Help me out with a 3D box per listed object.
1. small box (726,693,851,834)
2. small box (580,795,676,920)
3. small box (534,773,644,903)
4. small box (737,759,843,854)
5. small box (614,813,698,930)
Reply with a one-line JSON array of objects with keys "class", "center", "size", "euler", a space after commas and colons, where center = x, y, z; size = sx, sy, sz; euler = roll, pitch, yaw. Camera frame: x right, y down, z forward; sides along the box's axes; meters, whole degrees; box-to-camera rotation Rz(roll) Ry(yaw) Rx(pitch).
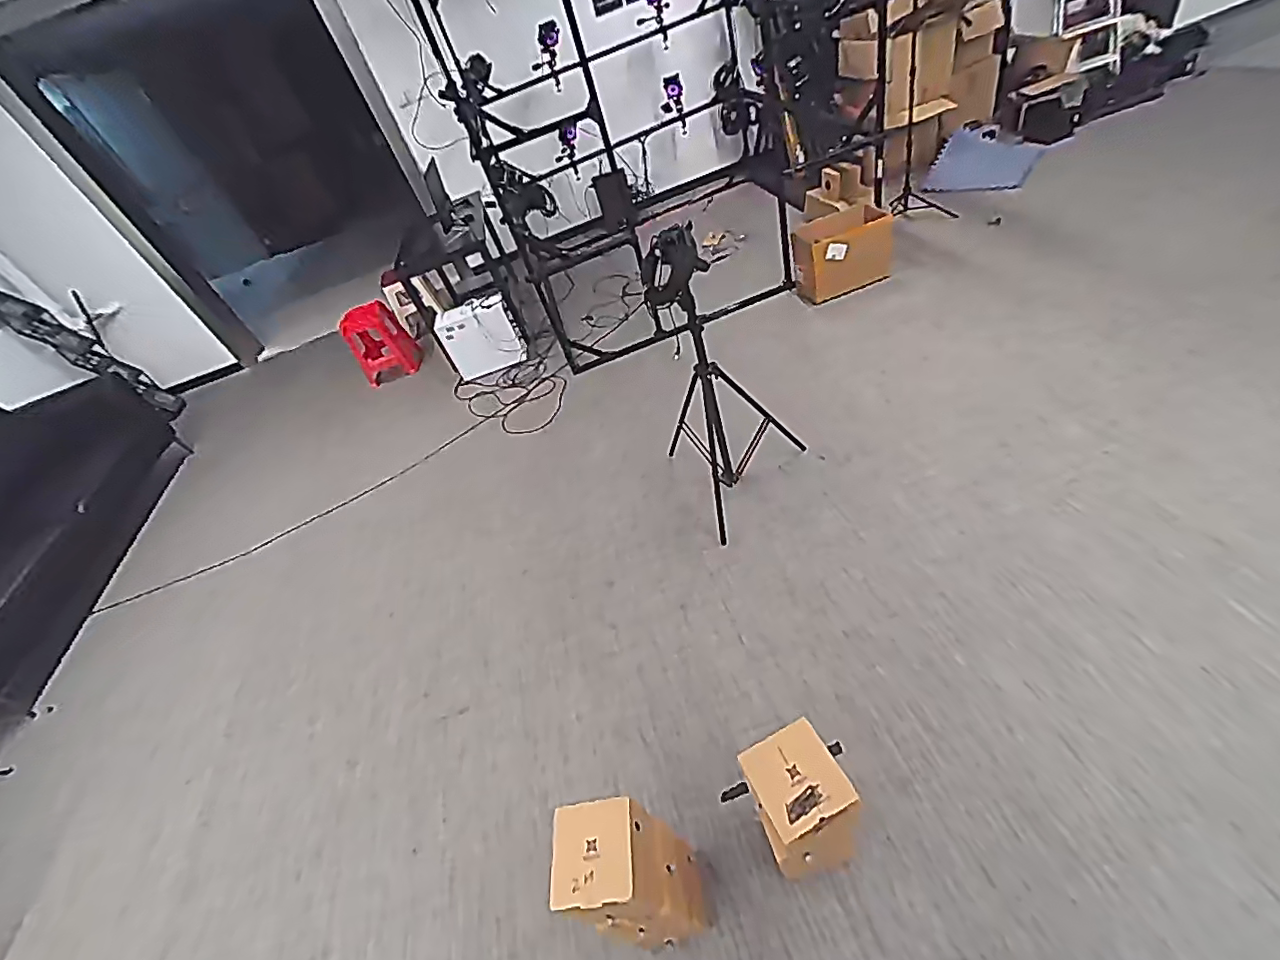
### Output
[{"class": "small box", "center": [0.294, 0.564, 1.064], "size": [0.168, 0.176, 0.179], "euler": [-27, 44, -6]}, {"class": "small box", "center": [-0.031, 0.825, 1.180], "size": [0.168, 0.176, 0.179], "euler": [-19, 43, 5]}, {"class": "small box", "center": [-0.096, 0.713, 1.076], "size": [0.168, 0.176, 0.179], "euler": [-15, 44, 9]}, {"class": "small box", "center": [0.324, 0.677, 1.181], "size": [0.168, 0.176, 0.179], "euler": [-22, 42, -1]}, {"class": "small box", "center": [0.025, 0.932, 1.285], "size": [0.168, 0.176, 0.179], "euler": [-21, 43, 4]}]
